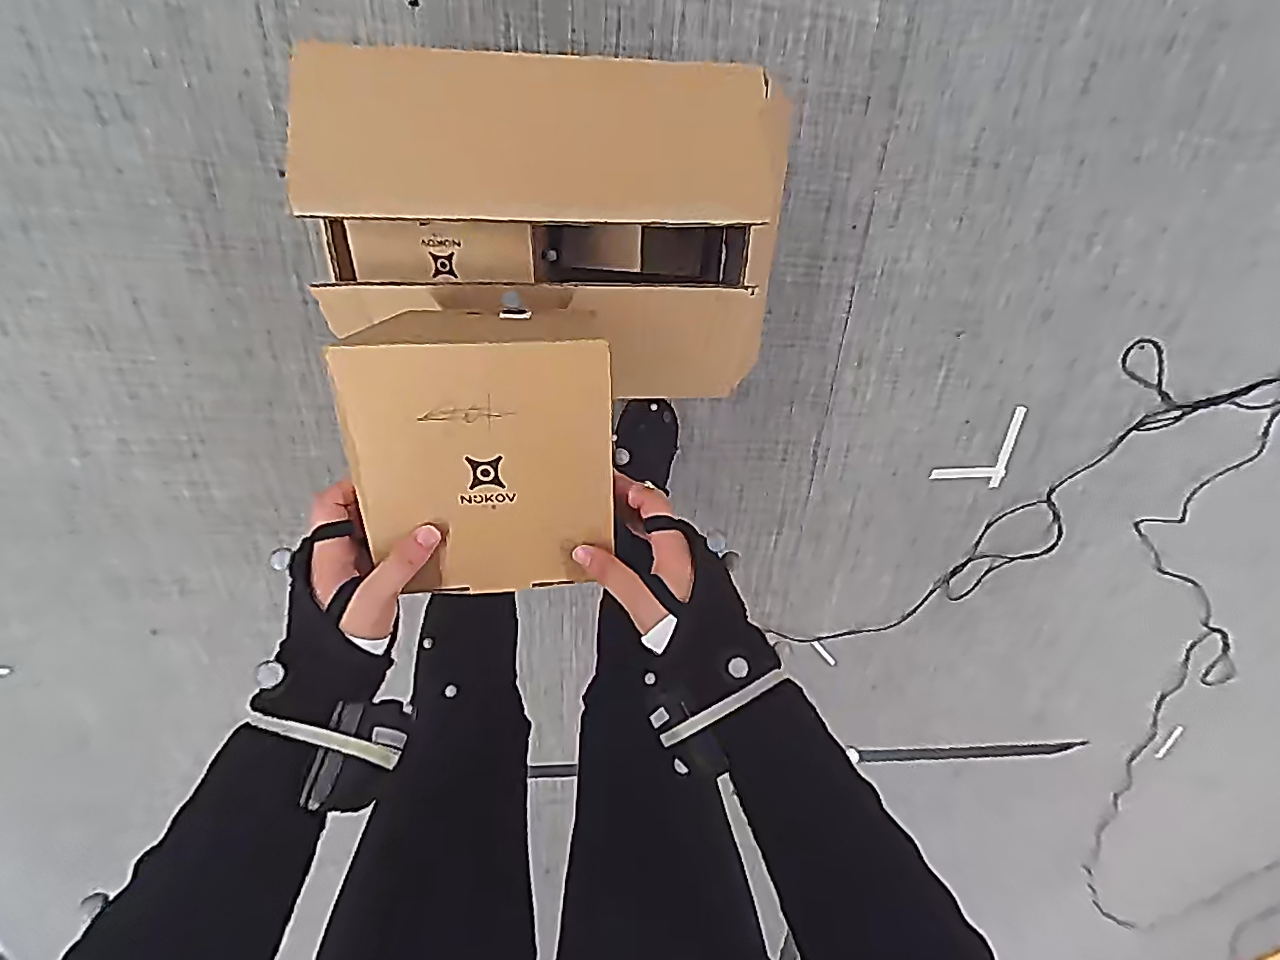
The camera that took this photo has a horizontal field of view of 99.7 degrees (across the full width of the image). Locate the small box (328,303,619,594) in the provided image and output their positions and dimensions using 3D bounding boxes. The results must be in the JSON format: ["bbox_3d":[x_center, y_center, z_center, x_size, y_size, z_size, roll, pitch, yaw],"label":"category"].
[{"bbox_3d":[-0.103,-0.036,0.417,0.168,0.176,0.179,-3,114,-6],"label":"small box"}]
